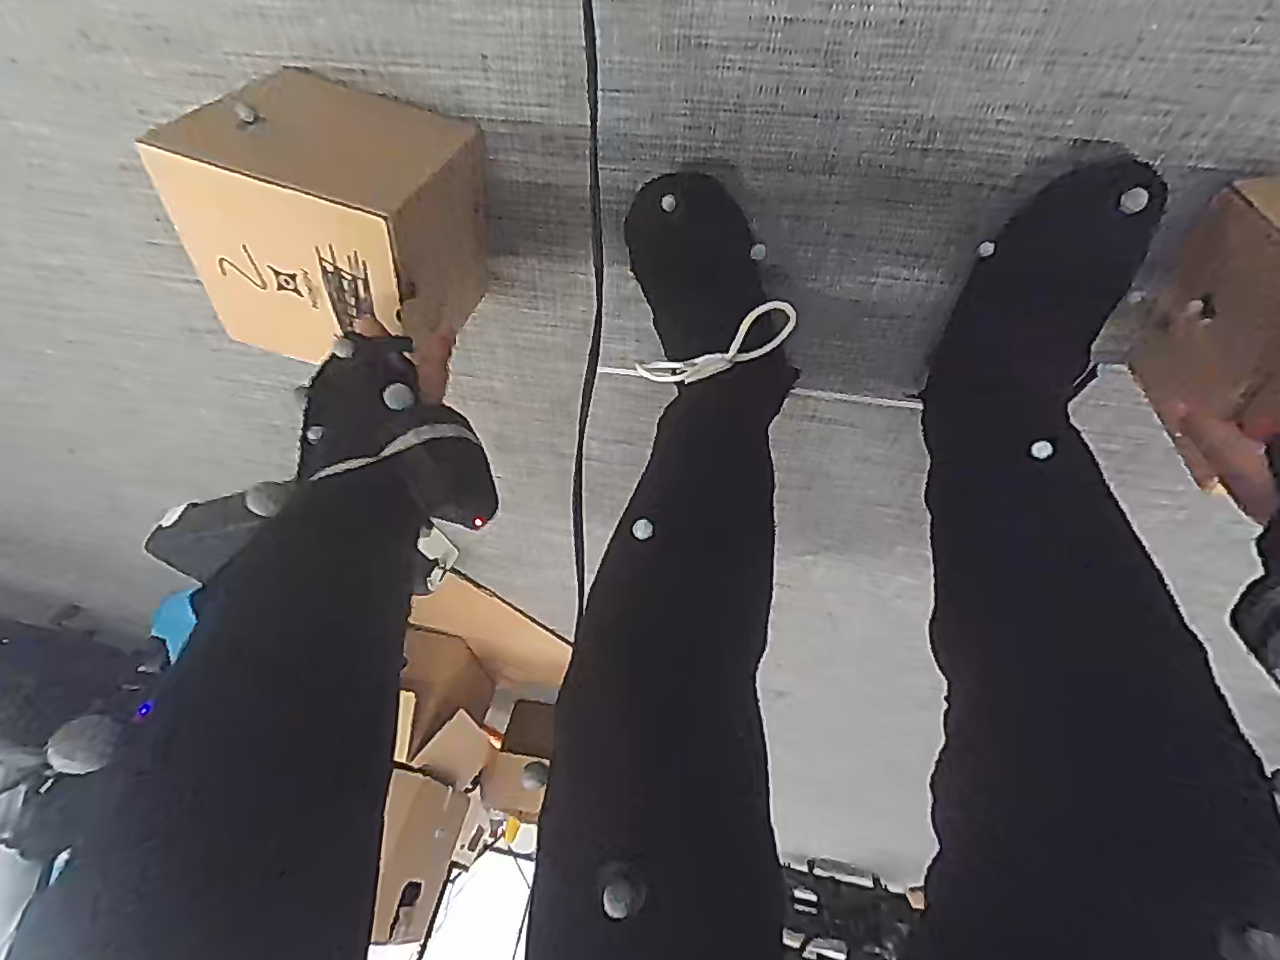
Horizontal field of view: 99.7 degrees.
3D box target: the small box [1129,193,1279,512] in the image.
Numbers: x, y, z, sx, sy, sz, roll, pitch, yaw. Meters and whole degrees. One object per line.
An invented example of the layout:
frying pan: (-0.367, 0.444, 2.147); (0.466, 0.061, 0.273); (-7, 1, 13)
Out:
small box: (0.507, -0.092, 0.378); (0.179, 0.176, 0.168); (1, 141, 17)
